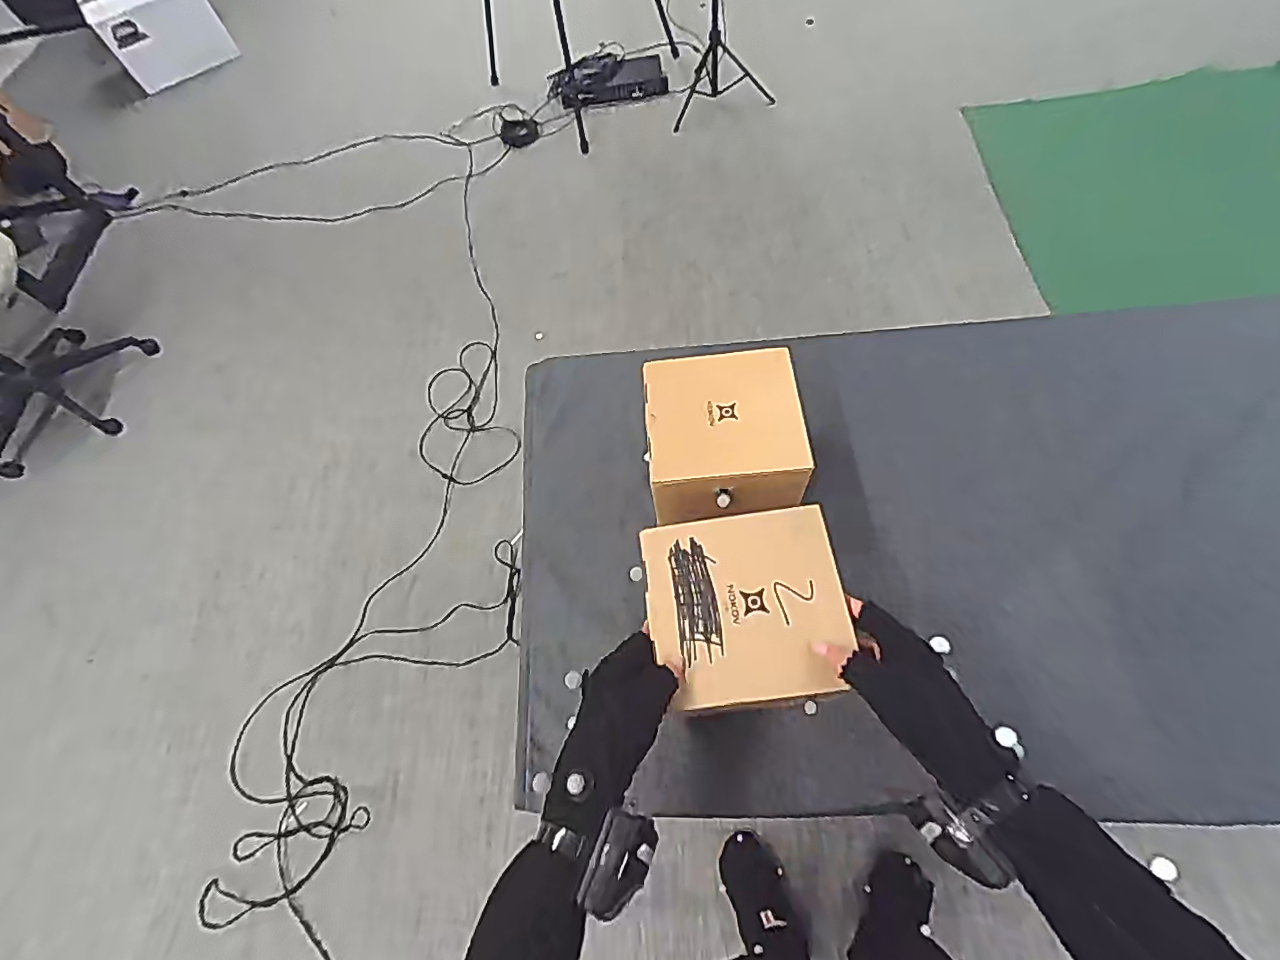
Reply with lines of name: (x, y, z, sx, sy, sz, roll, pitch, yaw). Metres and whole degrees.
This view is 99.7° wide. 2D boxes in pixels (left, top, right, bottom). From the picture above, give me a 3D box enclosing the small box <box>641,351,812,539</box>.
small box: (0.100, -0.036, 0.679, 0.179, 0.176, 0.168, -7, 63, 5)
